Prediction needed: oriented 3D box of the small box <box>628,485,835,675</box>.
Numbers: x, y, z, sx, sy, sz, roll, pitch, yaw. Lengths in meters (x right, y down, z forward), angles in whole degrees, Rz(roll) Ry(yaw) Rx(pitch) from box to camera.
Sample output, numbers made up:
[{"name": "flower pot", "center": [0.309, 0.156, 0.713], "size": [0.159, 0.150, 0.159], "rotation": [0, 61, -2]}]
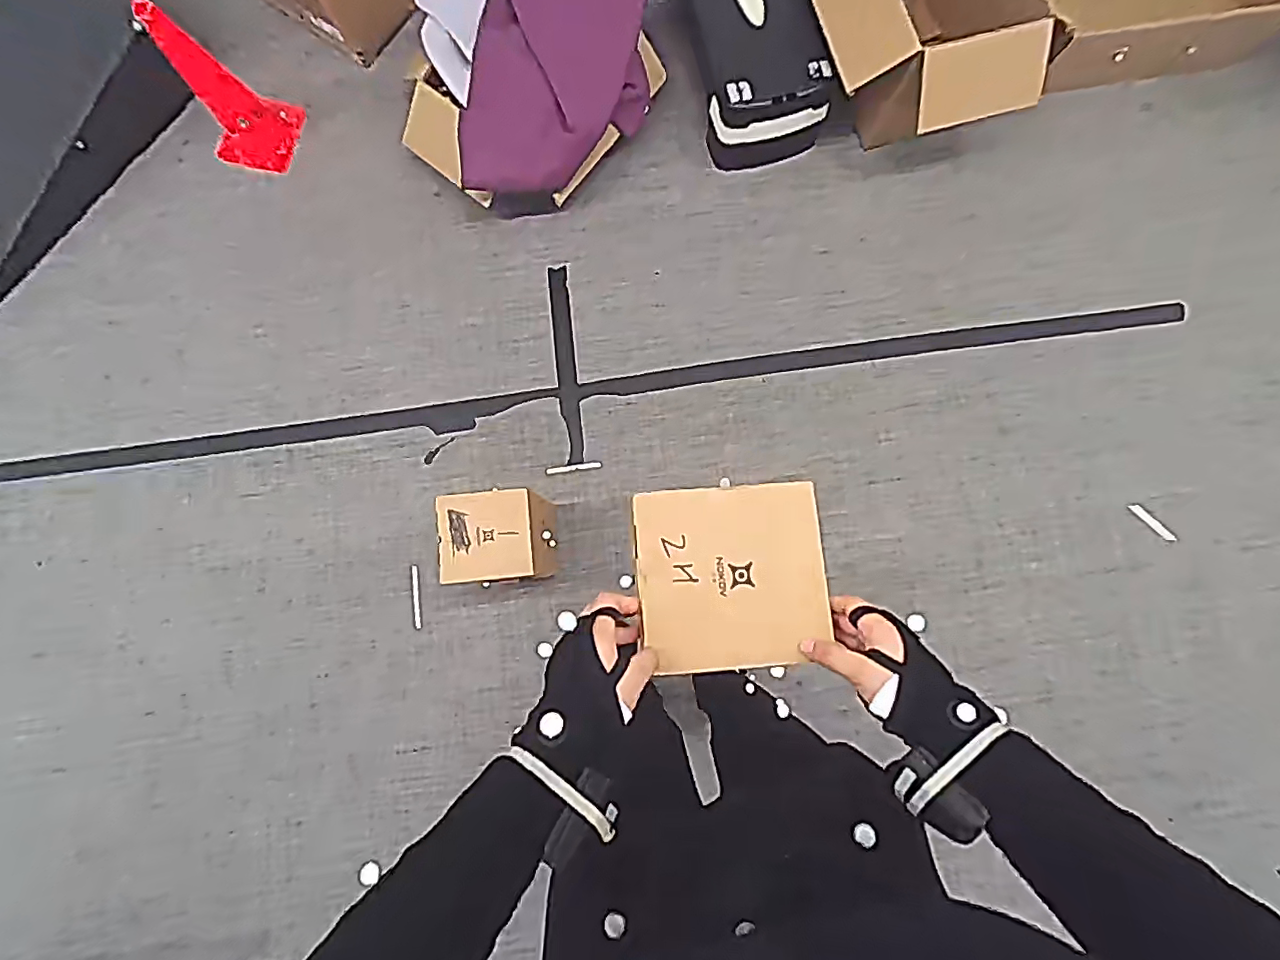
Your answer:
[{"name": "small box", "center": [0.080, 0.102, 0.567], "size": [0.179, 0.176, 0.168], "rotation": [-3, 78, -2]}]

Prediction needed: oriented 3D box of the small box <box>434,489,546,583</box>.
[{"name": "small box", "center": [-0.292, 0.114, 1.076], "size": [0.179, 0.176, 0.168], "rotation": [-5, 83, -1]}]

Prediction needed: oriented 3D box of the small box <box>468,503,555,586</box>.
[{"name": "small box", "center": [-0.293, 0.142, 1.240], "size": [0.168, 0.176, 0.179], "rotation": [-5, 84, 0]}]
